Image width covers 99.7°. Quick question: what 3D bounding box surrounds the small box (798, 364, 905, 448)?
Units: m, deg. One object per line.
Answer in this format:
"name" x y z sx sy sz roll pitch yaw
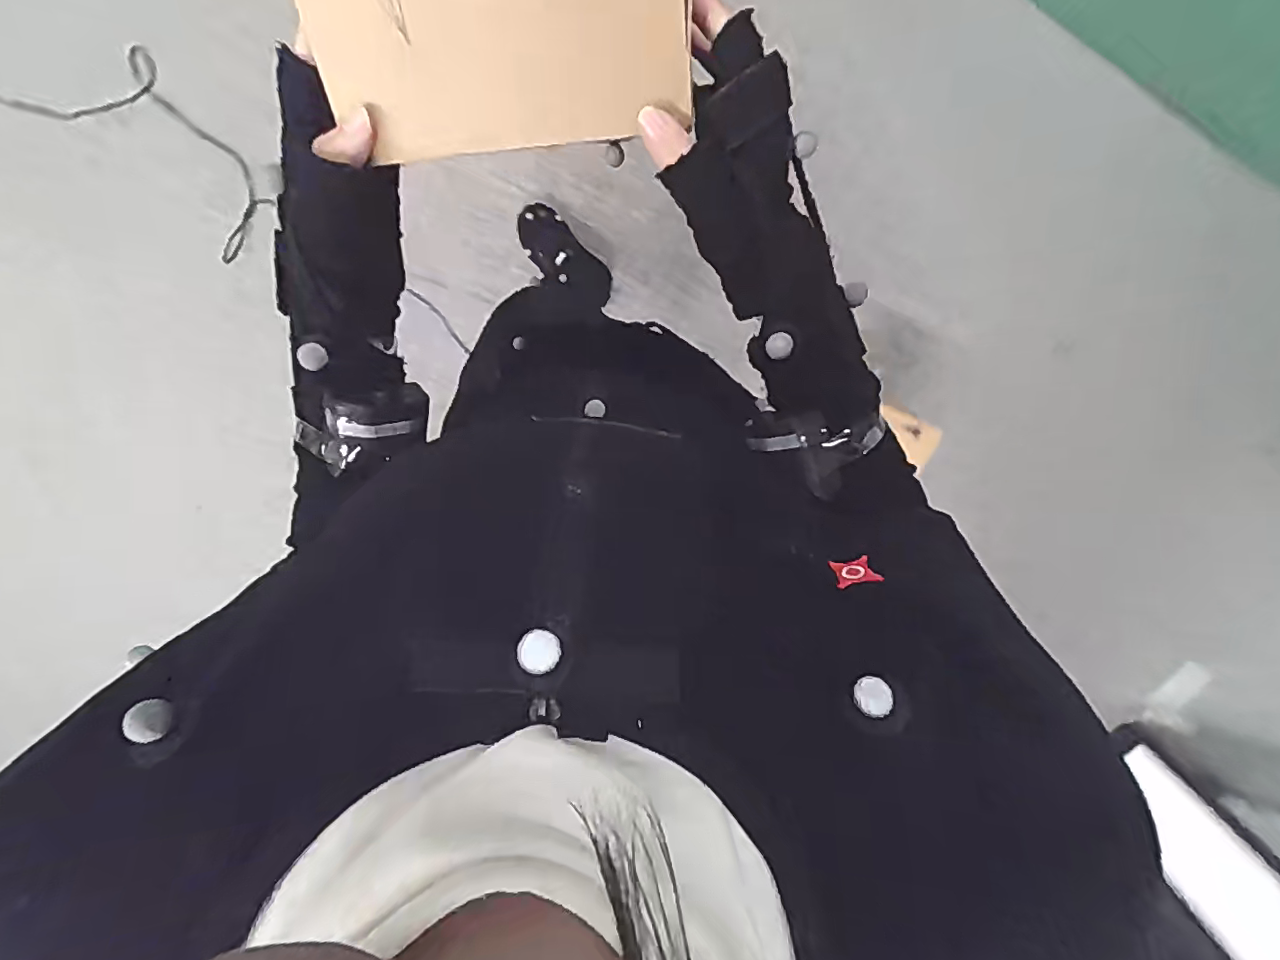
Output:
"small box" 0.513 -0.169 1.347 0.168 0.176 0.179 16 114 -8

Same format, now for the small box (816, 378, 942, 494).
"small box" 0.513 -0.102 1.198 0.168 0.176 0.179 20 113 -10
